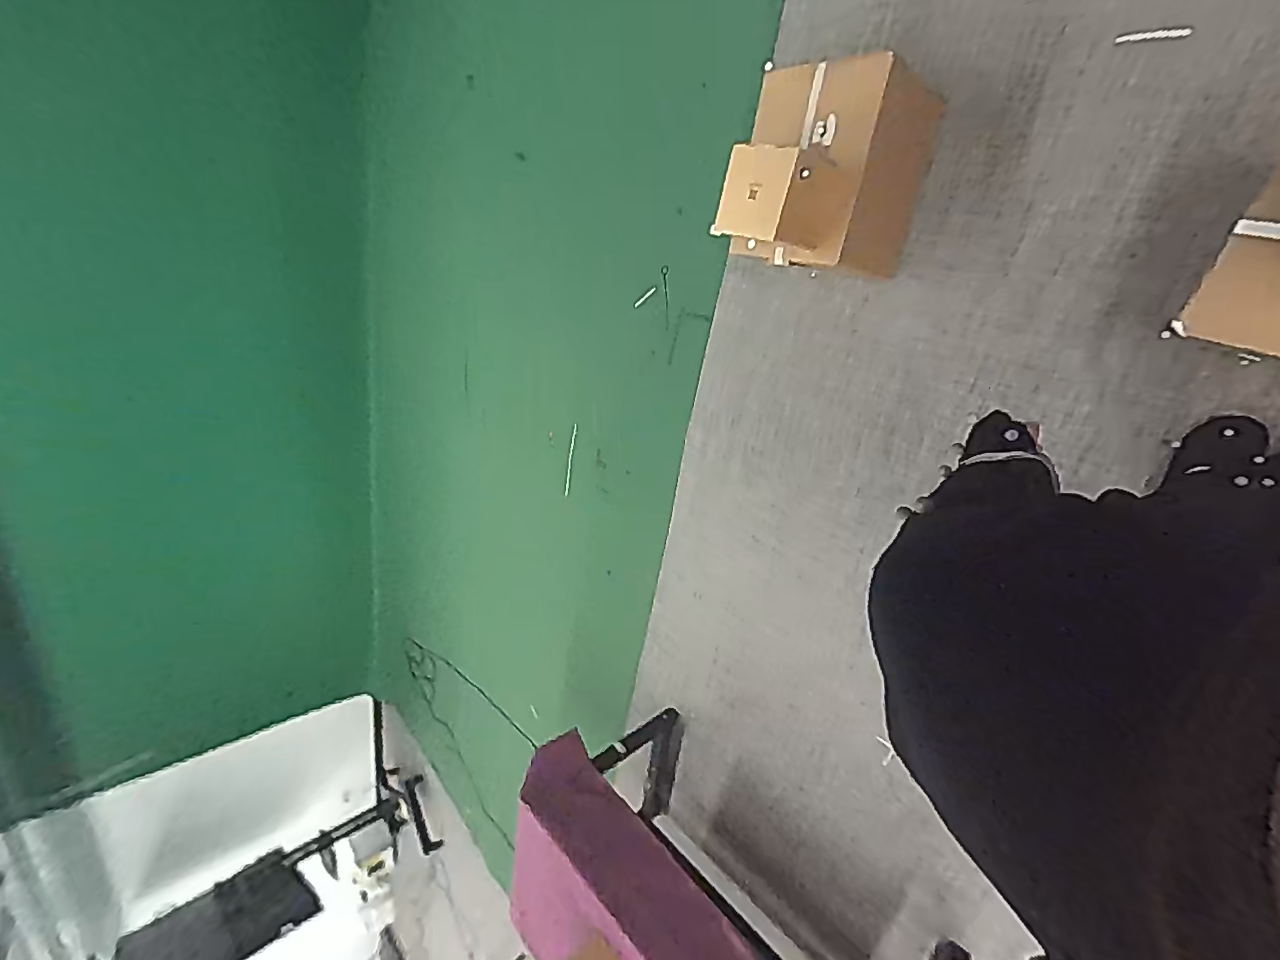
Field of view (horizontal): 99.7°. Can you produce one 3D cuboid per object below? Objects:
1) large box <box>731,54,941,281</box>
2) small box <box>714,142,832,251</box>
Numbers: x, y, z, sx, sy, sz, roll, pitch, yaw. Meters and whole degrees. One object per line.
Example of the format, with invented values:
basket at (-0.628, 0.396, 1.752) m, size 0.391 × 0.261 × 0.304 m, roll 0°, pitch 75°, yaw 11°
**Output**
large box at (0.475, -0.737, 1.340) m, size 0.320 × 0.320 × 0.408 m, roll 28°, pitch 116°, yaw 39°
small box at (0.296, -0.619, 1.192) m, size 0.168 × 0.176 × 0.179 m, roll 32°, pitch 118°, yaw 37°
